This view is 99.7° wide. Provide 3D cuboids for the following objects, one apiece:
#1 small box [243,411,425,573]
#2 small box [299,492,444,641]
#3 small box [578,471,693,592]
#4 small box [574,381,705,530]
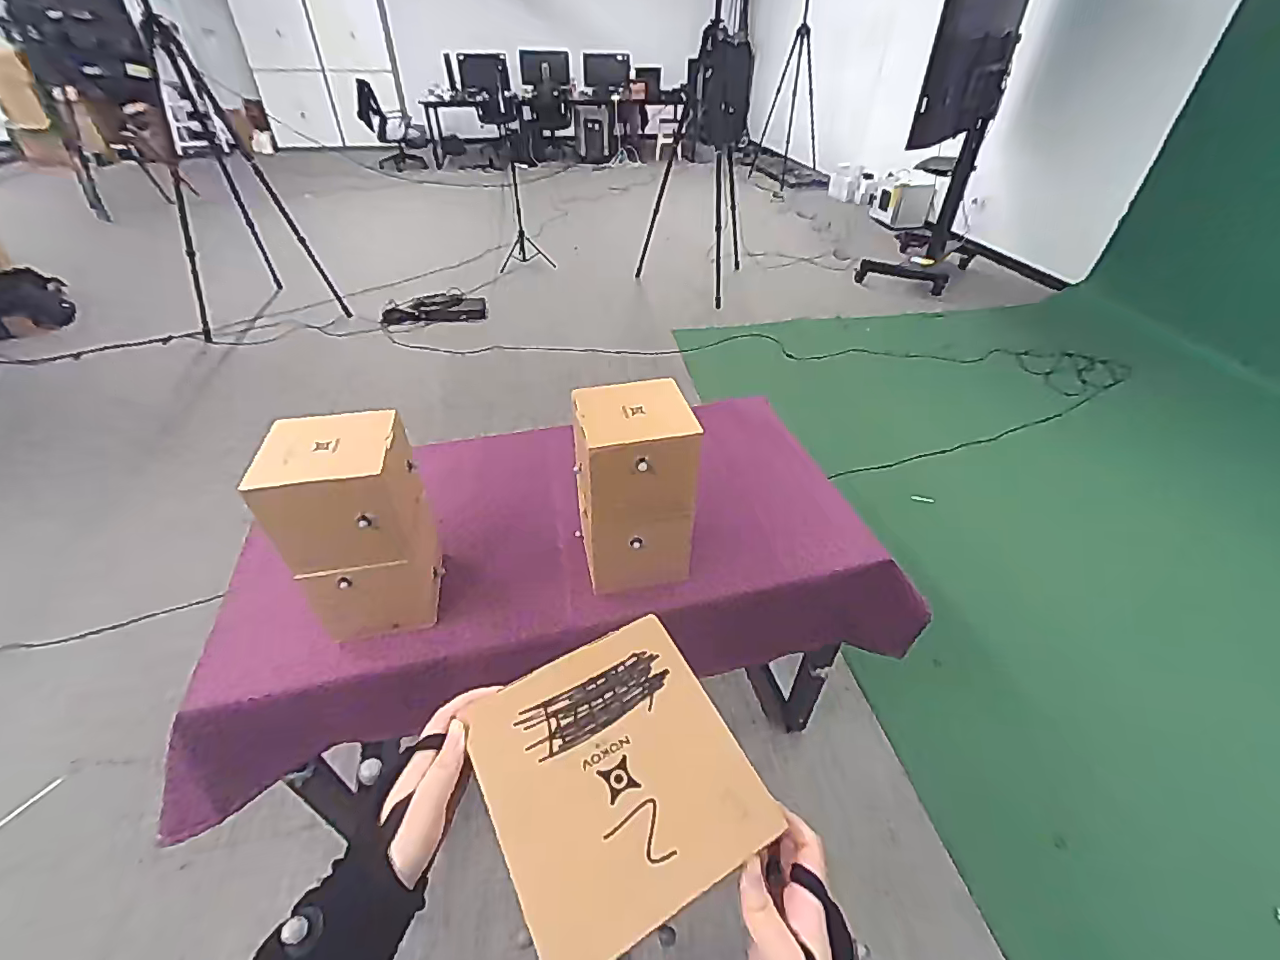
[{"bbox_3d":[-0.435,0.017,0.810,0.179,0.176,0.168,-7,40,-8],"label":"small box"},{"bbox_3d":[-0.437,0.143,0.916,0.168,0.176,0.179,-8,40,-9],"label":"small box"},{"bbox_3d":[-0.011,0.084,0.989,0.179,0.176,0.168,-8,41,-10],"label":"small box"},{"bbox_3d":[-0.007,-0.041,0.885,0.179,0.176,0.168,-9,42,-10],"label":"small box"}]
